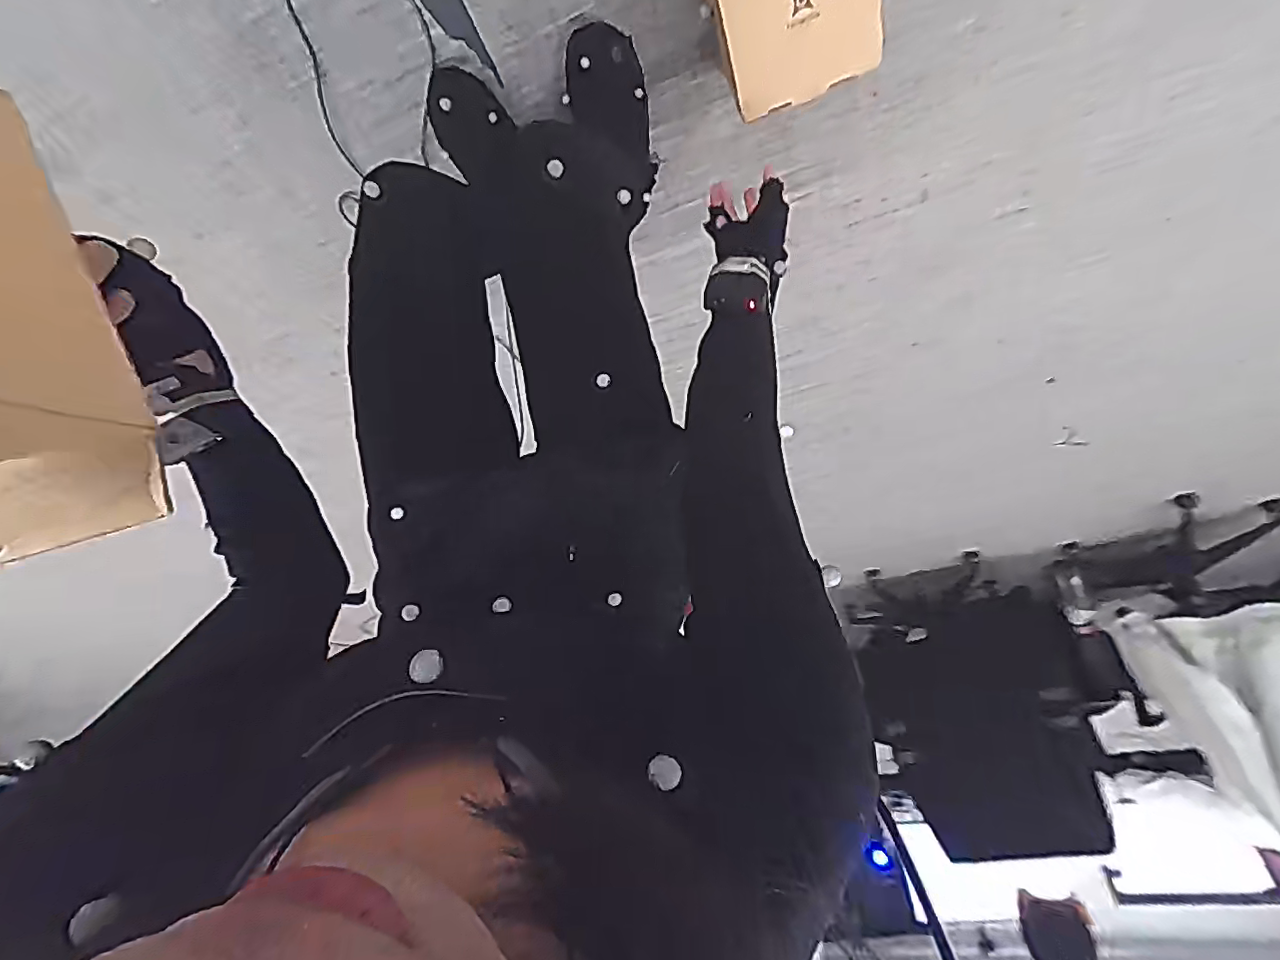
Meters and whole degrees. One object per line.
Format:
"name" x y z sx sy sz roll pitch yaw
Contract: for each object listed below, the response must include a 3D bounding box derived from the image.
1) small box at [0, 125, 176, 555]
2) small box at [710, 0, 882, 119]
"small box" -0.347 -0.052 0.234 0.179 0.168 0.176 -24 178 -41
"small box" 0.169 -0.572 0.621 0.168 0.176 0.179 -15 144 16
